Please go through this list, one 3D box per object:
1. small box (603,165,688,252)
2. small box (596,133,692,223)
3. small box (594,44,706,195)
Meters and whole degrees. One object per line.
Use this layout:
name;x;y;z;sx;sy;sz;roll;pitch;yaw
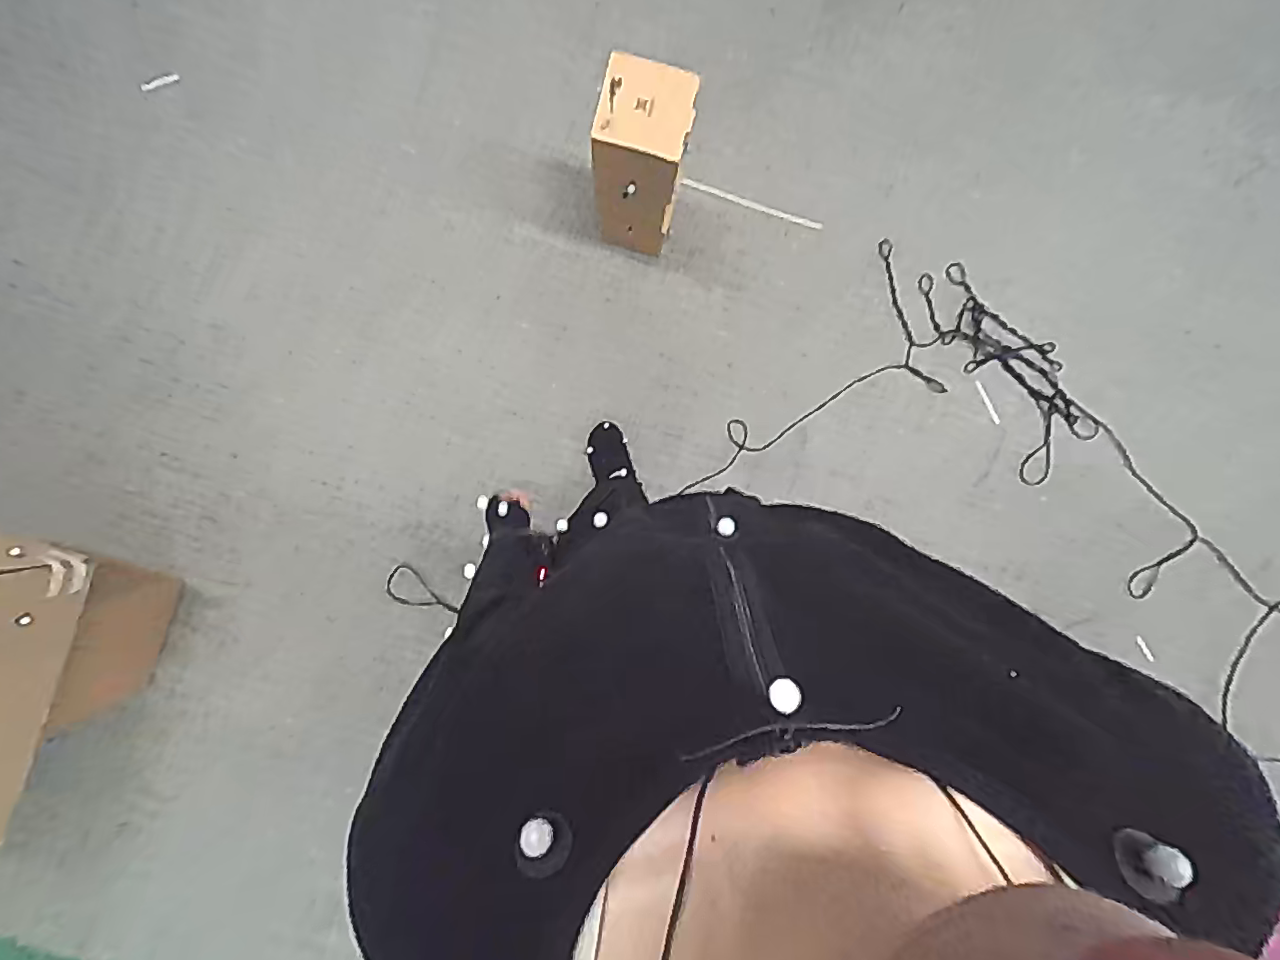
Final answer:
small box;0.010;-0.721;1.403;0.179;0.176;0.168;17;91;-3
small box;0.007;-0.721;1.239;0.179;0.176;0.168;17;91;-3
small box;0.014;-0.701;1.076;0.179;0.176;0.168;15;91;-3
